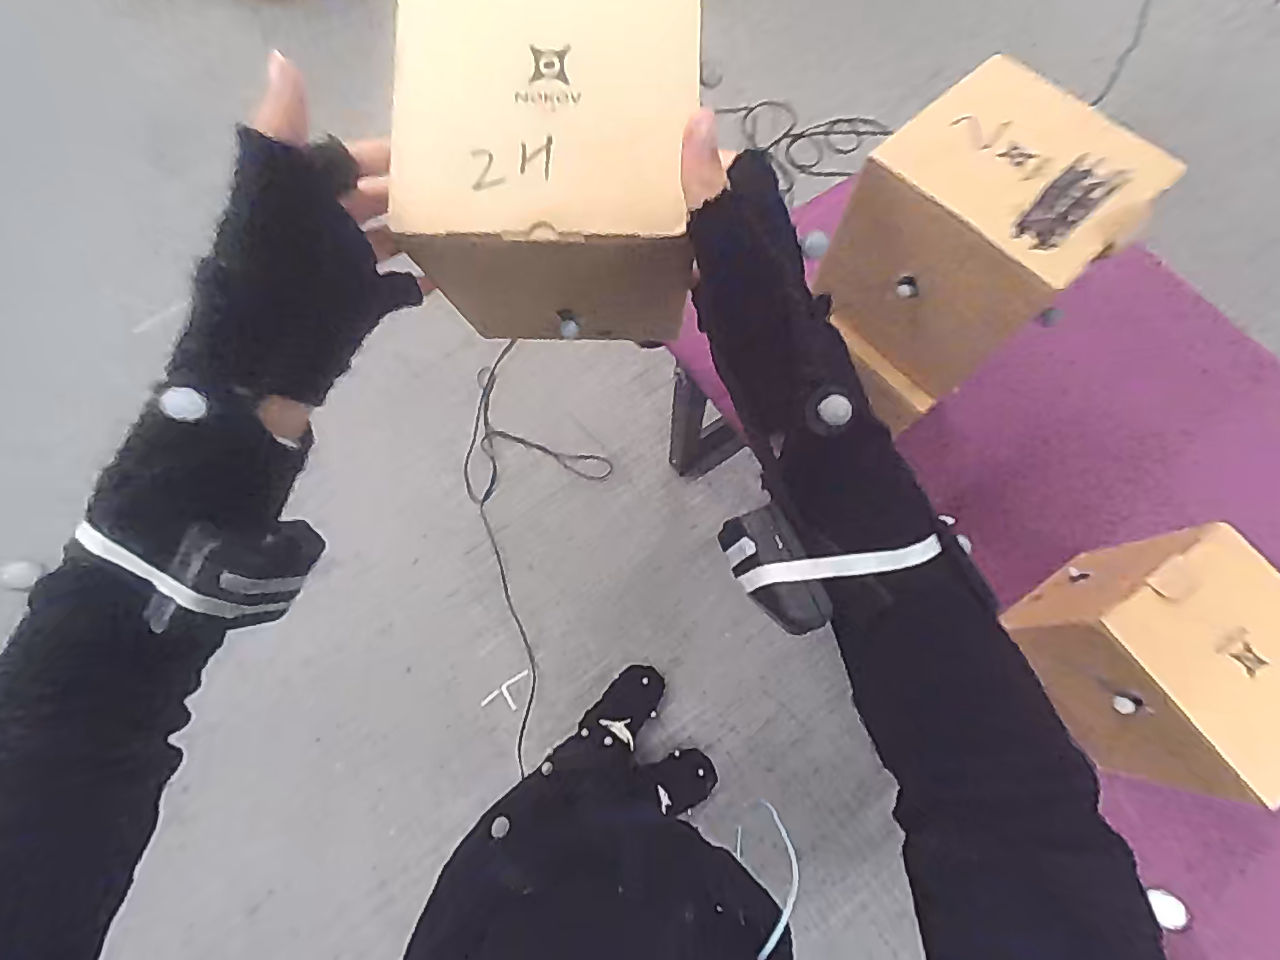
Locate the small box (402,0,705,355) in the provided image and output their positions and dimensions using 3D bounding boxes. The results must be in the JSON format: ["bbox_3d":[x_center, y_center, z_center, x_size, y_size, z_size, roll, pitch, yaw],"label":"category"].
[{"bbox_3d":[-0.048,-0.202,0.386,0.168,0.176,0.179,2,87,1],"label":"small box"}]

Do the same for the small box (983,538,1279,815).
[{"bbox_3d":[0.506,0.185,0.544,0.168,0.176,0.179,-31,74,-10],"label":"small box"}]
